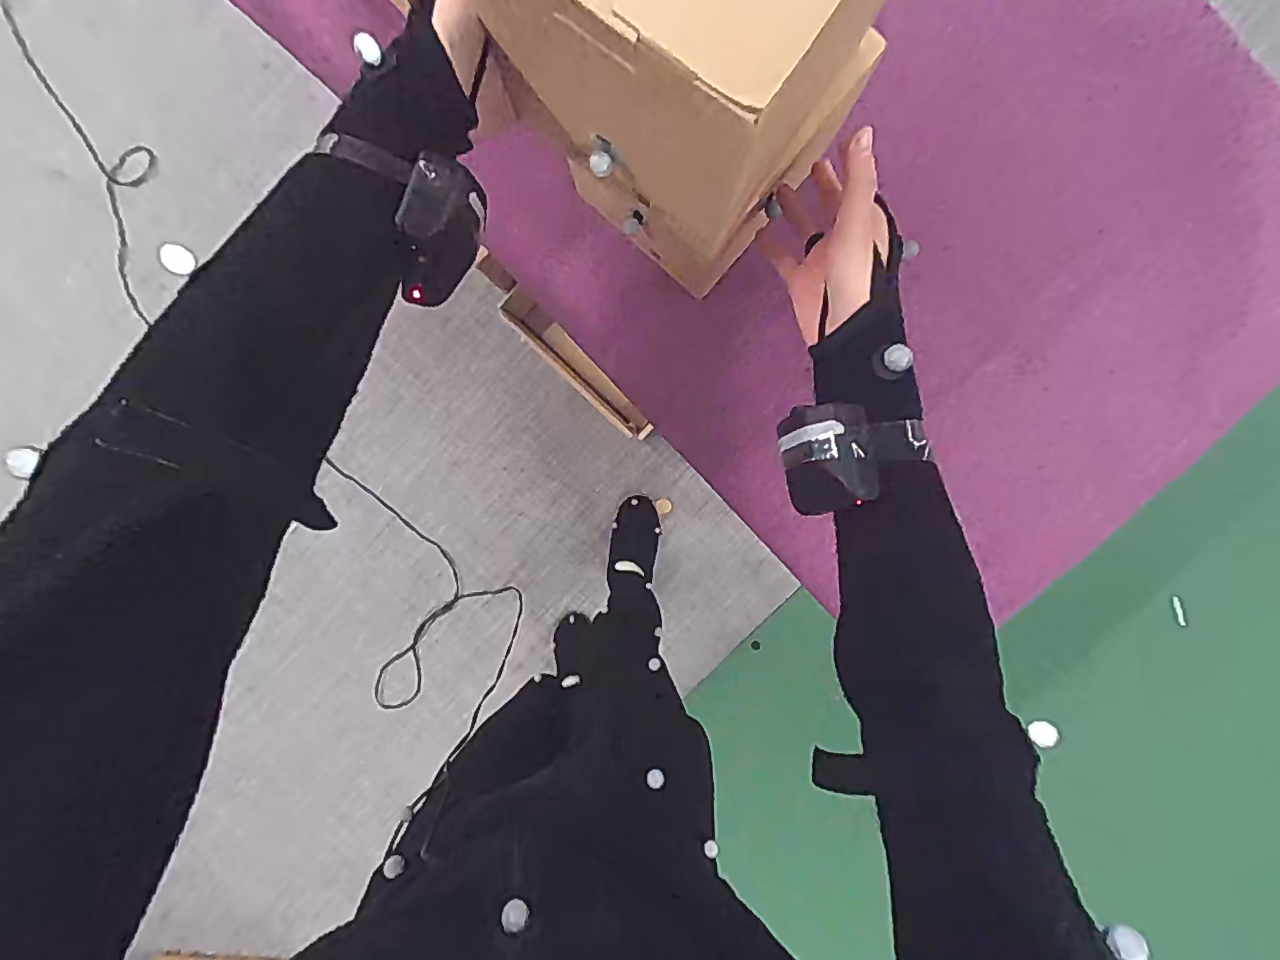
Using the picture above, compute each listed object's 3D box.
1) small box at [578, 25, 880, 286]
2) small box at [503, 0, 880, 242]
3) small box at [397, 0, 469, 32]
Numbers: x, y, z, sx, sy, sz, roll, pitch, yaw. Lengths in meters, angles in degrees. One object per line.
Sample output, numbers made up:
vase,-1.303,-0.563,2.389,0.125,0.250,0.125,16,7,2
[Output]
small box,0.055,-0.297,0.459,0.168,0.176,0.179,41,95,-2
small box,0.034,-0.272,0.295,0.168,0.176,0.179,36,94,-1
small box,-0.198,-0.547,0.446,0.179,0.176,0.168,-44,93,5
